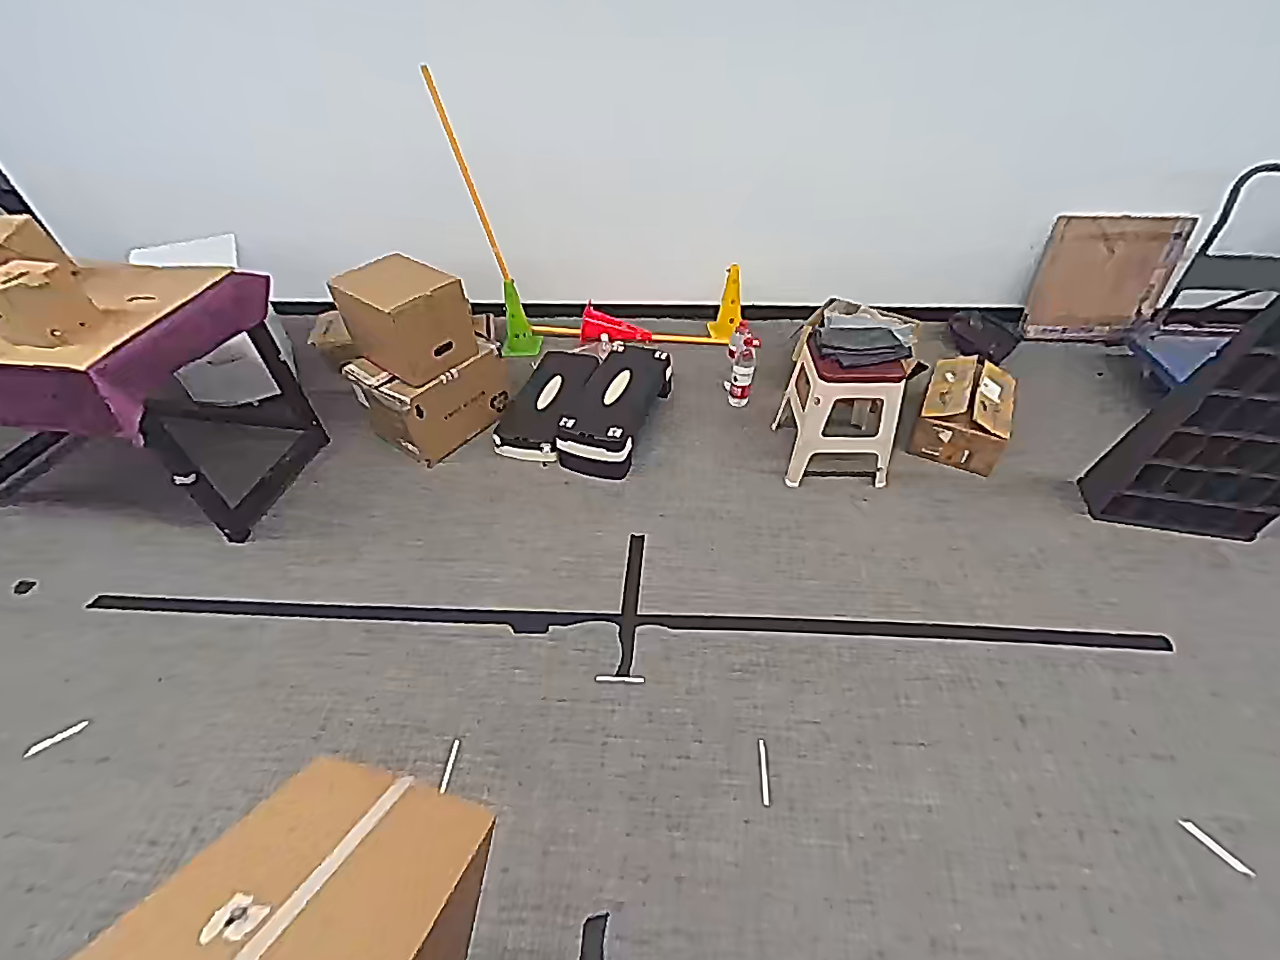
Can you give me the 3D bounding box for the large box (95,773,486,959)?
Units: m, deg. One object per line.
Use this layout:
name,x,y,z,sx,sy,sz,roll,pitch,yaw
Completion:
large box,-0.446,0.677,0.694,0.320,0.320,0.408,13,6,7
